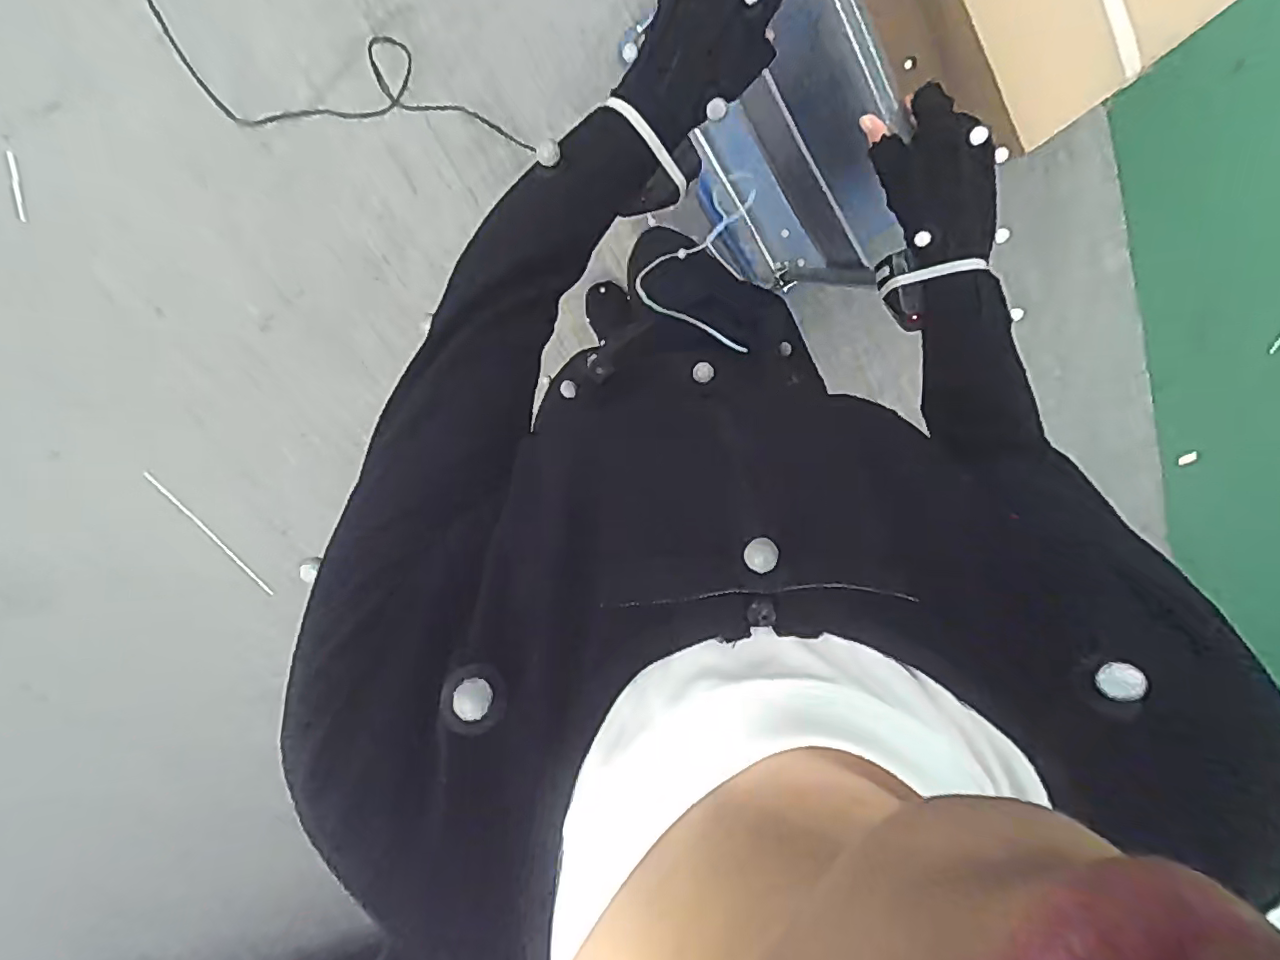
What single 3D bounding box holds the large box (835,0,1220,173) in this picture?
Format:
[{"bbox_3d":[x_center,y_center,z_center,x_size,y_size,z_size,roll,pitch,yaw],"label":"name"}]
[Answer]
[{"bbox_3d":[0.563,-0.777,0.848,0.320,0.320,0.408,-35,109,13],"label":"large box"}]
